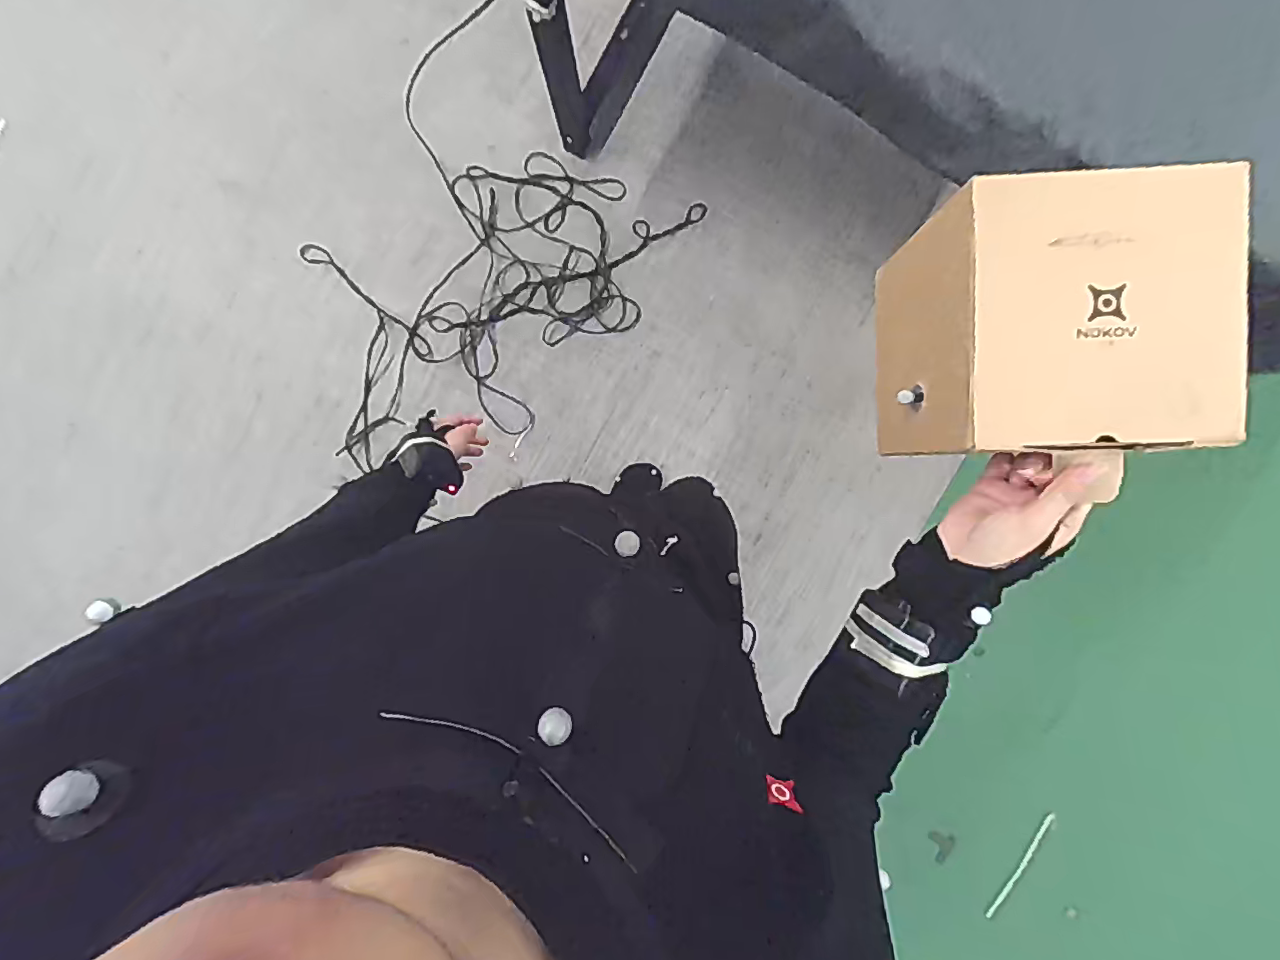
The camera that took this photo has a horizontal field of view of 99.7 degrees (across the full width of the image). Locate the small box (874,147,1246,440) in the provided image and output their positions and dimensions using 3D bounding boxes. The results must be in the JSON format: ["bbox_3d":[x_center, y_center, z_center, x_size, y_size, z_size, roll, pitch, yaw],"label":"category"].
[{"bbox_3d":[0.296,-0.121,0.421,0.168,0.176,0.179,-1,91,2],"label":"small box"}]
